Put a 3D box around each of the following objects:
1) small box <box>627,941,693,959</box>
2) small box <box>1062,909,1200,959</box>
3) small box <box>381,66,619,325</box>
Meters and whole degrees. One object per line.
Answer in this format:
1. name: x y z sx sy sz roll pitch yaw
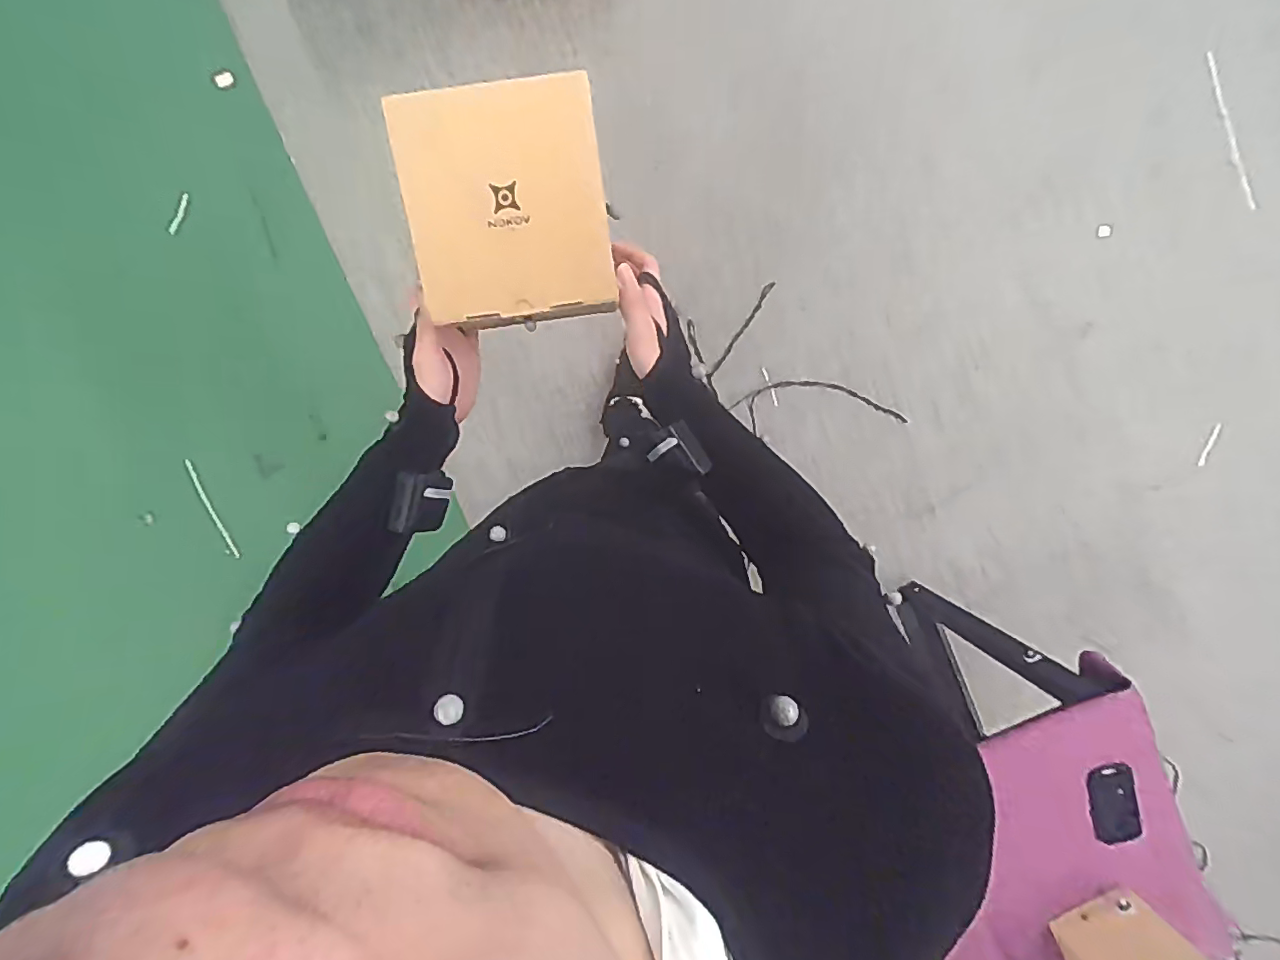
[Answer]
1. small box: 0.039 0.934 0.895 0.168 0.176 0.179 -22 97 -1
2. small box: 0.882 0.890 0.927 0.168 0.176 0.179 -28 97 1
3. small box: -0.115 -0.248 0.515 0.168 0.176 0.179 -8 106 -1
